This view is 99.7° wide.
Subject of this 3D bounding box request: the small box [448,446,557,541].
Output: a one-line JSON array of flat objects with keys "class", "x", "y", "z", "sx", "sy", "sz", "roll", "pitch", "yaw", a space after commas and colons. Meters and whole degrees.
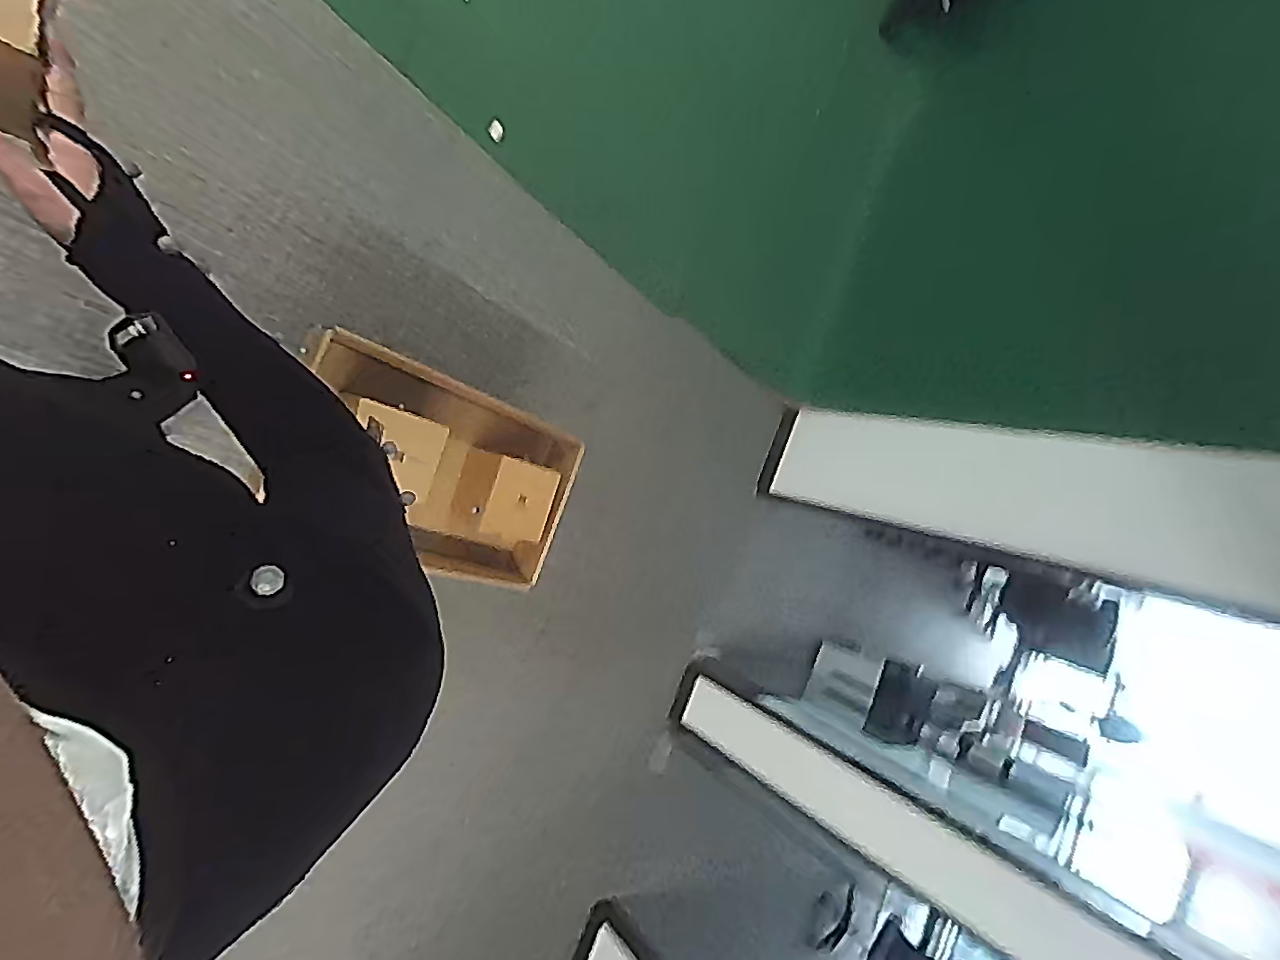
[{"class": "small box", "x": -0.332, "y": 0.028, "z": 1.290, "sx": 0.168, "sy": 0.176, "sz": 0.179, "roll": 20, "pitch": 89, "yaw": -45}]
